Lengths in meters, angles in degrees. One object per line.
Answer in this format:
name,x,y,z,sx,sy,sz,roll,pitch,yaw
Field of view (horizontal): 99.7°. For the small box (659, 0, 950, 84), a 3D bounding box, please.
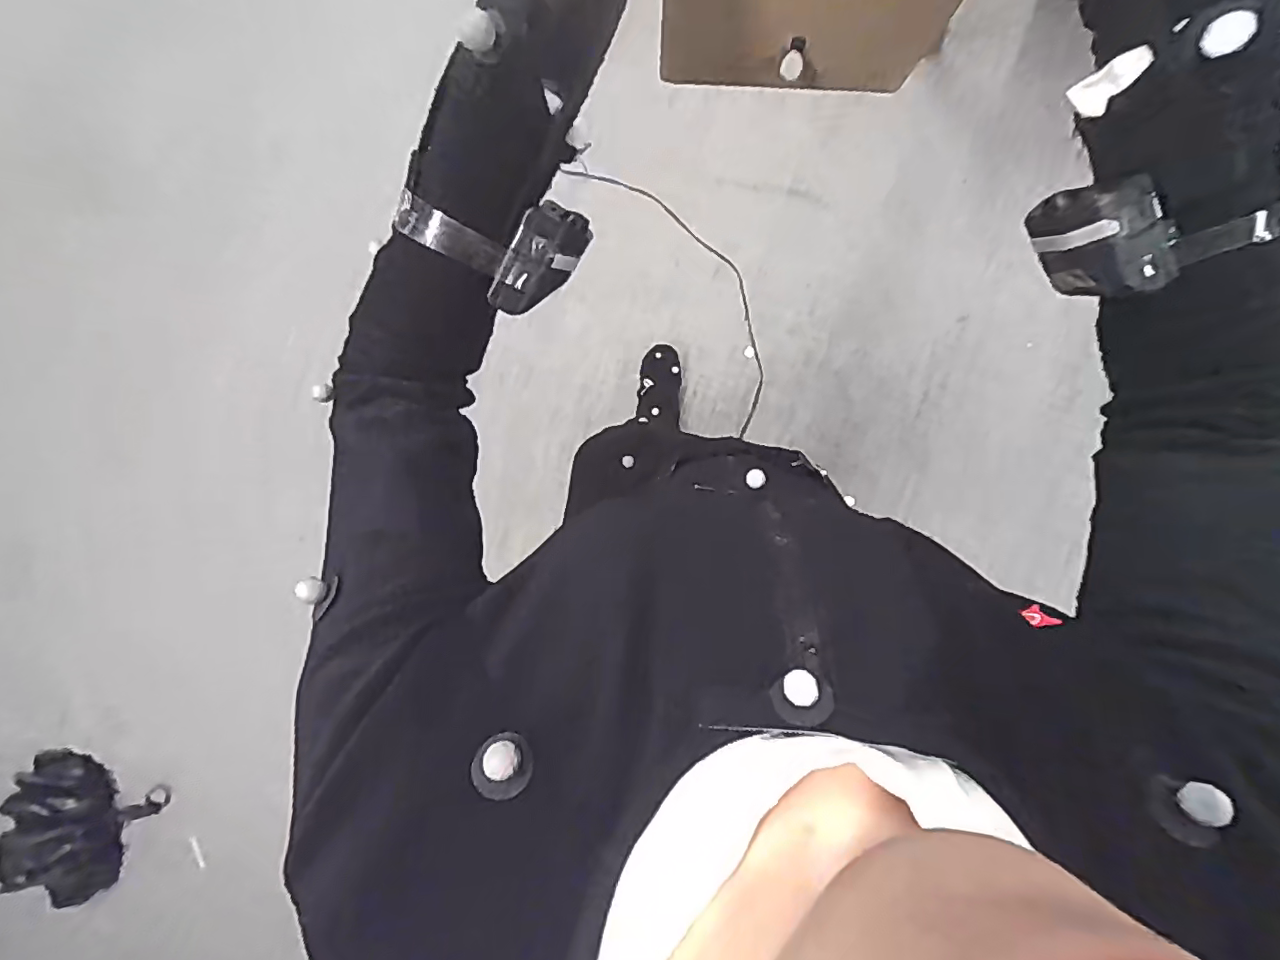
small box,0.106,-0.365,0.309,0.179,0.176,0.168,3,94,-1
